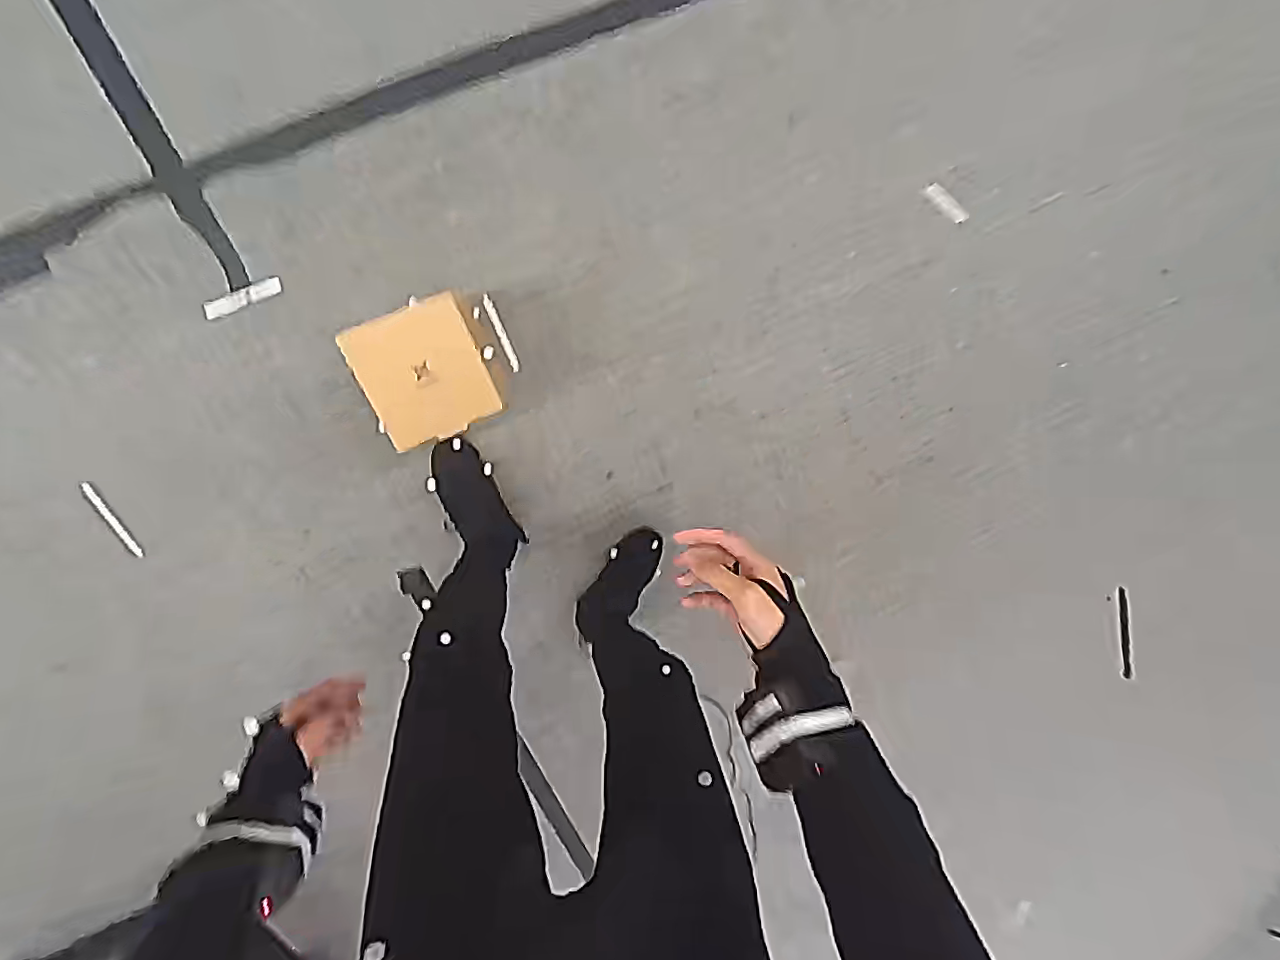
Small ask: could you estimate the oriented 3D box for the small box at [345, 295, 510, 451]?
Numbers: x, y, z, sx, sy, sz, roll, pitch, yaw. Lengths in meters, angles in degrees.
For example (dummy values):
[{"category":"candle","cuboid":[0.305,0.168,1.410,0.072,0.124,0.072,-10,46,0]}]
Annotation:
[{"category":"small box","cuboid":[-0.312,-0.167,0.830,0.168,0.176,0.179,-24,110,-6]}]
